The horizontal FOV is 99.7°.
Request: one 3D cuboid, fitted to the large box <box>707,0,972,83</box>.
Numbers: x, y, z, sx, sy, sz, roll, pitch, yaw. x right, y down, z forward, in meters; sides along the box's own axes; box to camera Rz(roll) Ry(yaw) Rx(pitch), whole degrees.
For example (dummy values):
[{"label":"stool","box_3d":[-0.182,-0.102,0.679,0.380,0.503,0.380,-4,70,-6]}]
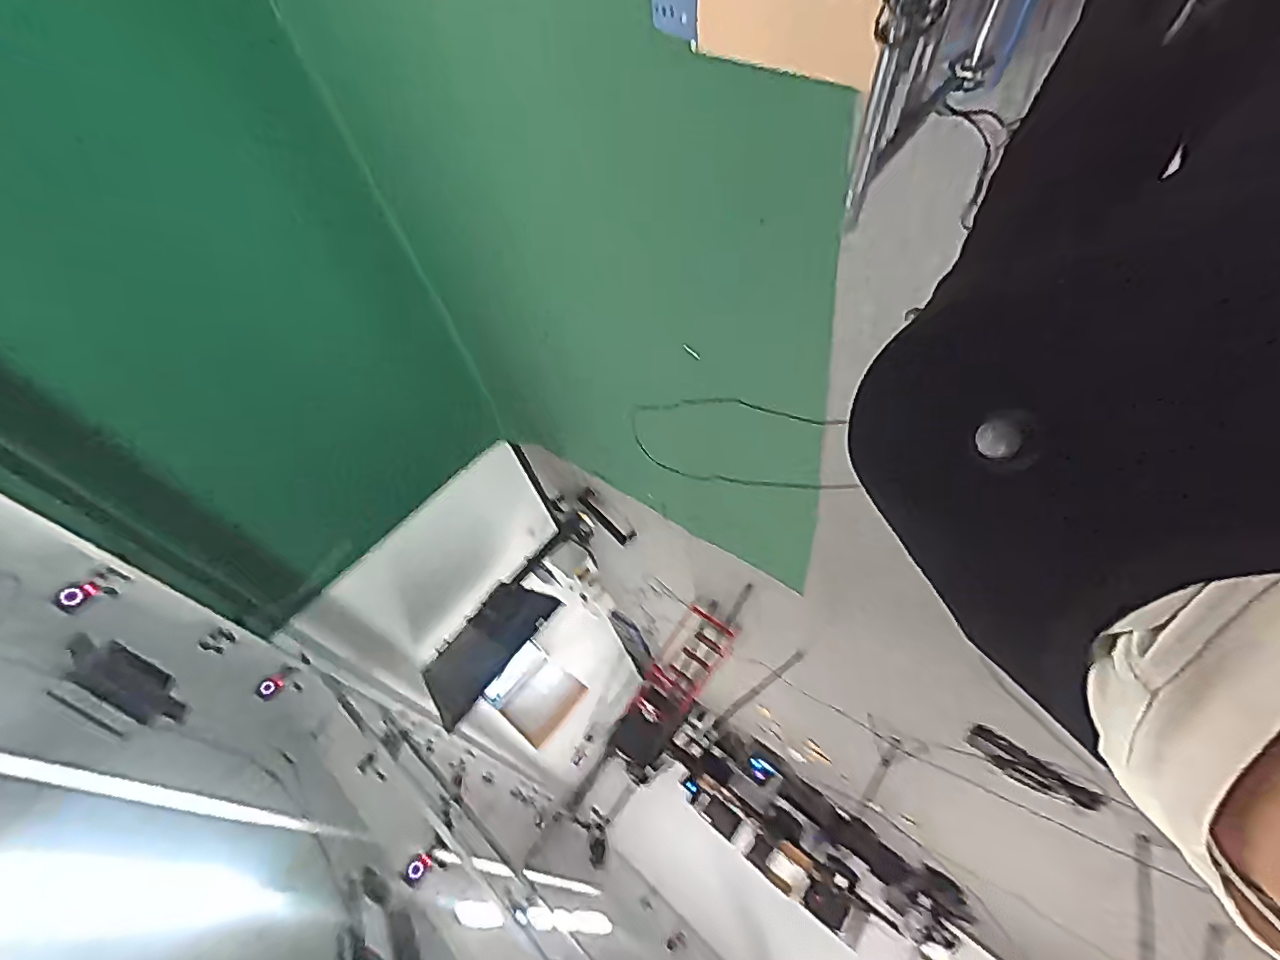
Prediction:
[{"label":"large box","box_3d":[0.371,-0.965,0.946,0.408,0.320,0.320,33,155,24]}]
